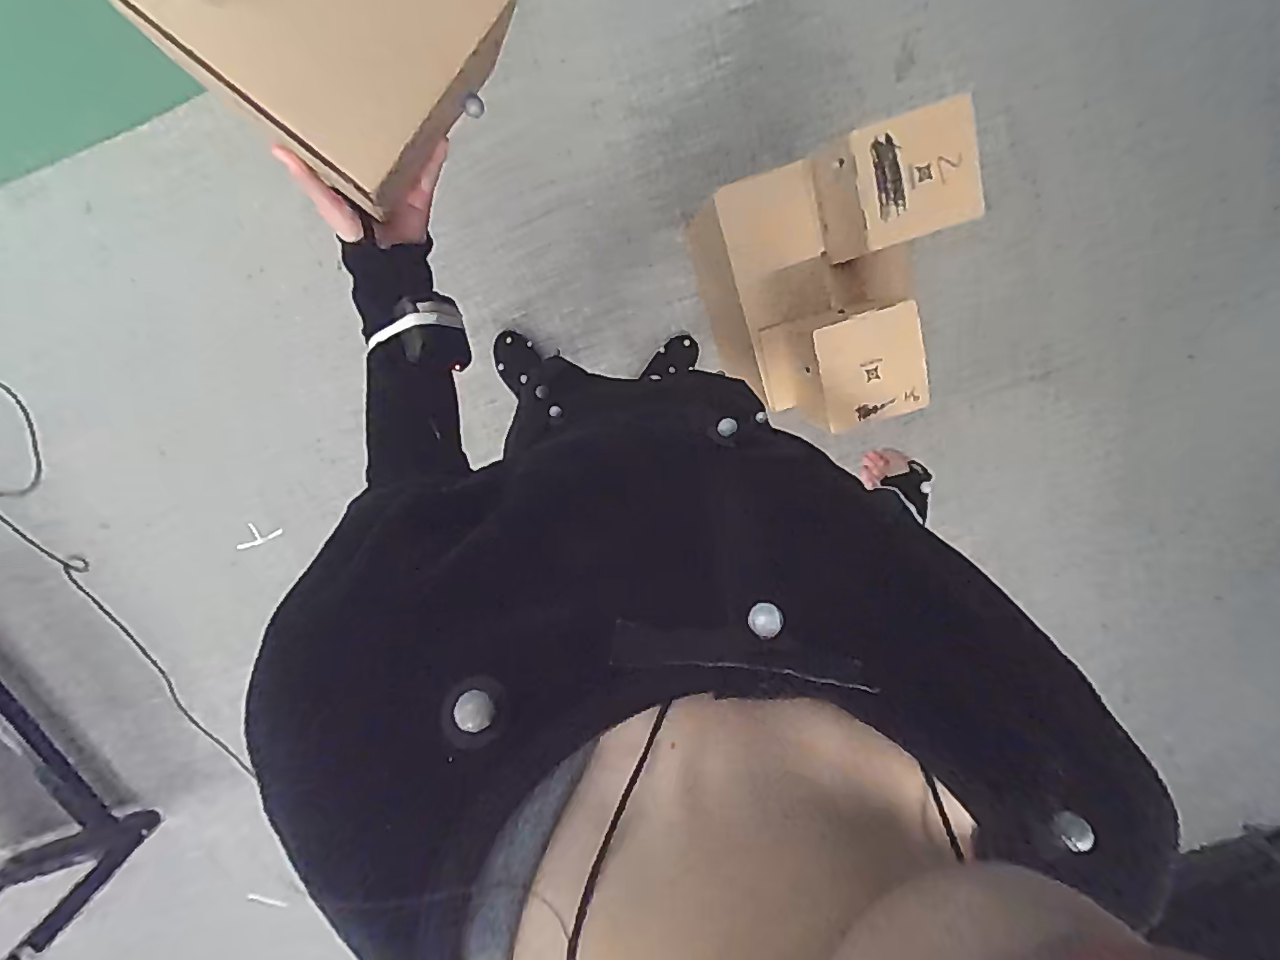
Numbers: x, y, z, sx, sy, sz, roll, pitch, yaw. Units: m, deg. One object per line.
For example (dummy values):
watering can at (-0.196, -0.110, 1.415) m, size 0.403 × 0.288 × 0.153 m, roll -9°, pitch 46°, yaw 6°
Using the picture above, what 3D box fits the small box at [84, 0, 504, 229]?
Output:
small box at (-0.223, -0.311, 0.374) m, size 0.179 × 0.168 × 0.176 m, roll 35°, pitch 93°, yaw -28°

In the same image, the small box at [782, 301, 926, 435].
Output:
small box at (0.355, -0.193, 0.923) m, size 0.168 × 0.176 × 0.179 m, roll -16°, pitch 106°, yaw 4°
